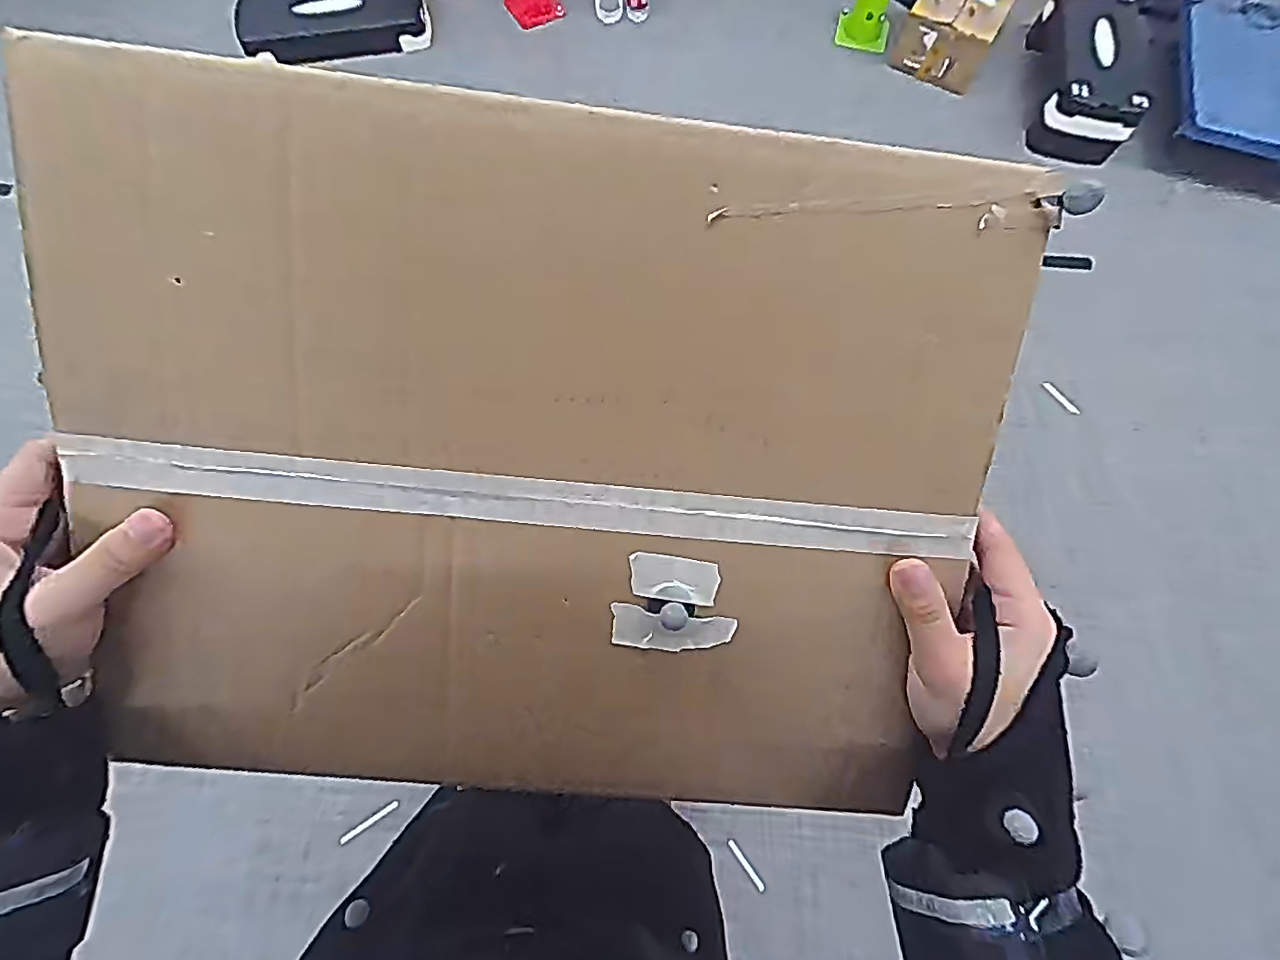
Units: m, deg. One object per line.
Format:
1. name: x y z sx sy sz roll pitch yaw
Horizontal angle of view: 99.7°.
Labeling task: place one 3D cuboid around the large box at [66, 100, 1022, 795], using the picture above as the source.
1. large box: -0.050 -0.020 0.400 0.408 0.320 0.320 5 104 -4
